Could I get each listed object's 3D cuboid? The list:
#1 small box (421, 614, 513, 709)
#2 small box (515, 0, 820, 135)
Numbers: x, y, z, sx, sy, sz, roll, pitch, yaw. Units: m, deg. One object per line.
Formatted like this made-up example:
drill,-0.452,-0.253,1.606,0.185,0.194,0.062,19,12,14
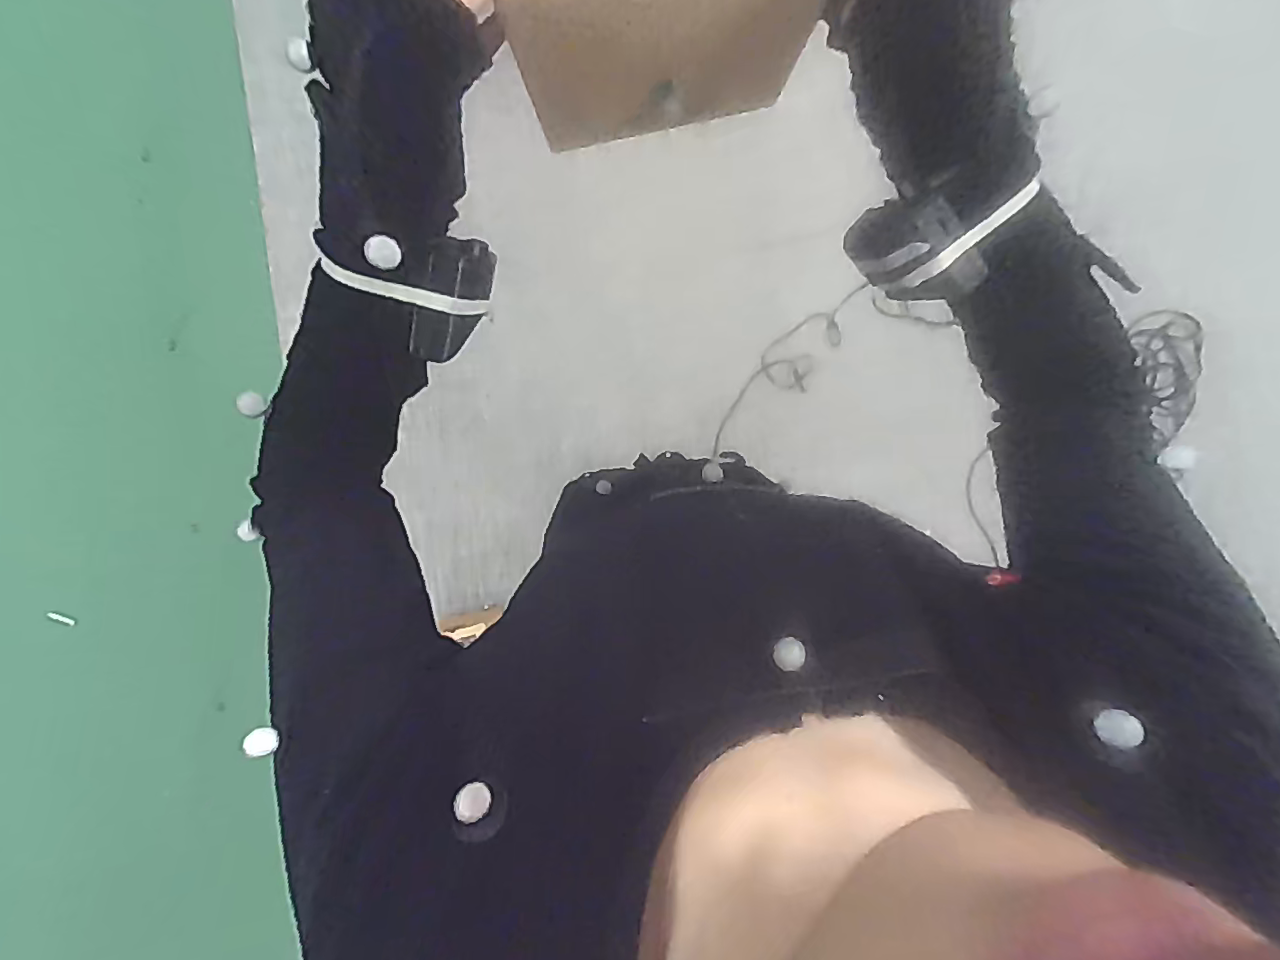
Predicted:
small box,-0.438,0.456,1.388,0.168,0.176,0.179,-12,91,-1
small box,0.004,-0.328,0.289,0.168,0.176,0.179,-11,99,2
